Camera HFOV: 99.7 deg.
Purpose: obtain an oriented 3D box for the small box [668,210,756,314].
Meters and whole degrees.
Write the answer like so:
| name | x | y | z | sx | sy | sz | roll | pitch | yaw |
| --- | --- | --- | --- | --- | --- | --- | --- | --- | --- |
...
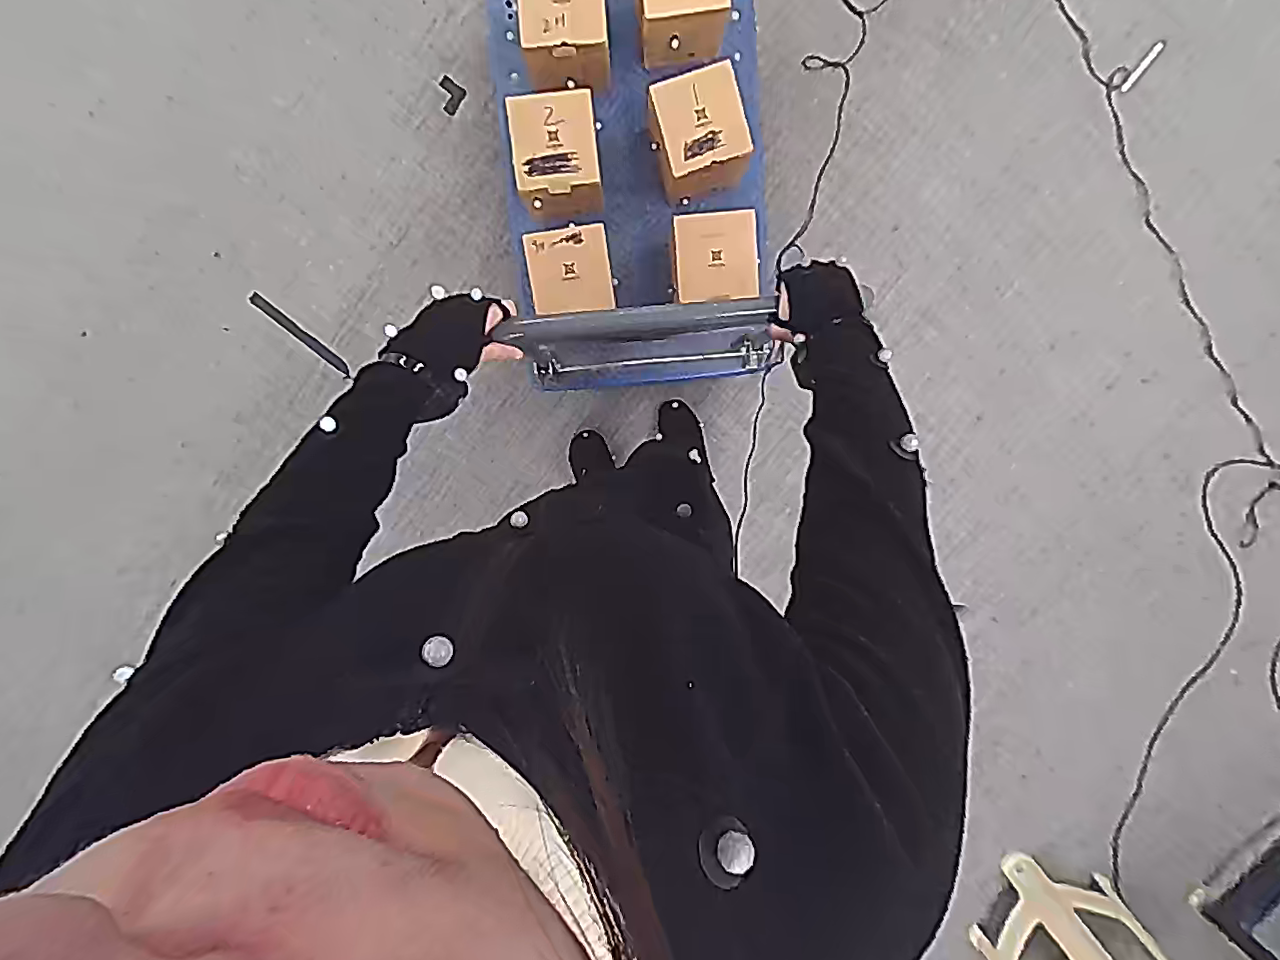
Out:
| name | x | y | z | sx | sy | sz | roll | pitch | yaw |
| --- | --- | --- | --- | --- | --- | --- | --- | --- | --- |
| small box | 0.150 | -0.462 | 1.172 | 0.168 | 0.176 | 0.179 | -5 | 98 | -1 |

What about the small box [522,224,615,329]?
| name | x | y | z | sx | sy | sz | roll | pitch | yaw |
| --- | --- | --- | --- | --- | --- | --- | --- | --- | --- |
| small box | -0.146 | -0.430 | 1.171 | 0.168 | 0.176 | 0.179 | -8 | 99 | 0 |

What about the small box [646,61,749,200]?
| name | x | y | z | sx | sy | sz | roll | pitch | yaw |
| --- | --- | --- | --- | --- | --- | --- | --- | --- | --- |
| small box | 0.114 | -0.714 | 1.133 | 0.168 | 0.176 | 0.179 | -17 | 97 | 1 |

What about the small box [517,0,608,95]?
| name | x | y | z | sx | sy | sz | roll | pitch | yaw |
| --- | --- | --- | --- | --- | --- | --- | --- | --- | --- |
| small box | -0.154 | -0.923 | 1.096 | 0.168 | 0.176 | 0.179 | -3 | 99 | 0 |

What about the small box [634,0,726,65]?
| name | x | y | z | sx | sy | sz | roll | pitch | yaw |
| --- | --- | --- | --- | --- | --- | --- | --- | --- | --- |
| small box | 0.075 | -0.981 | 1.093 | 0.168 | 0.176 | 0.179 | -8 | 98 | 1 |
